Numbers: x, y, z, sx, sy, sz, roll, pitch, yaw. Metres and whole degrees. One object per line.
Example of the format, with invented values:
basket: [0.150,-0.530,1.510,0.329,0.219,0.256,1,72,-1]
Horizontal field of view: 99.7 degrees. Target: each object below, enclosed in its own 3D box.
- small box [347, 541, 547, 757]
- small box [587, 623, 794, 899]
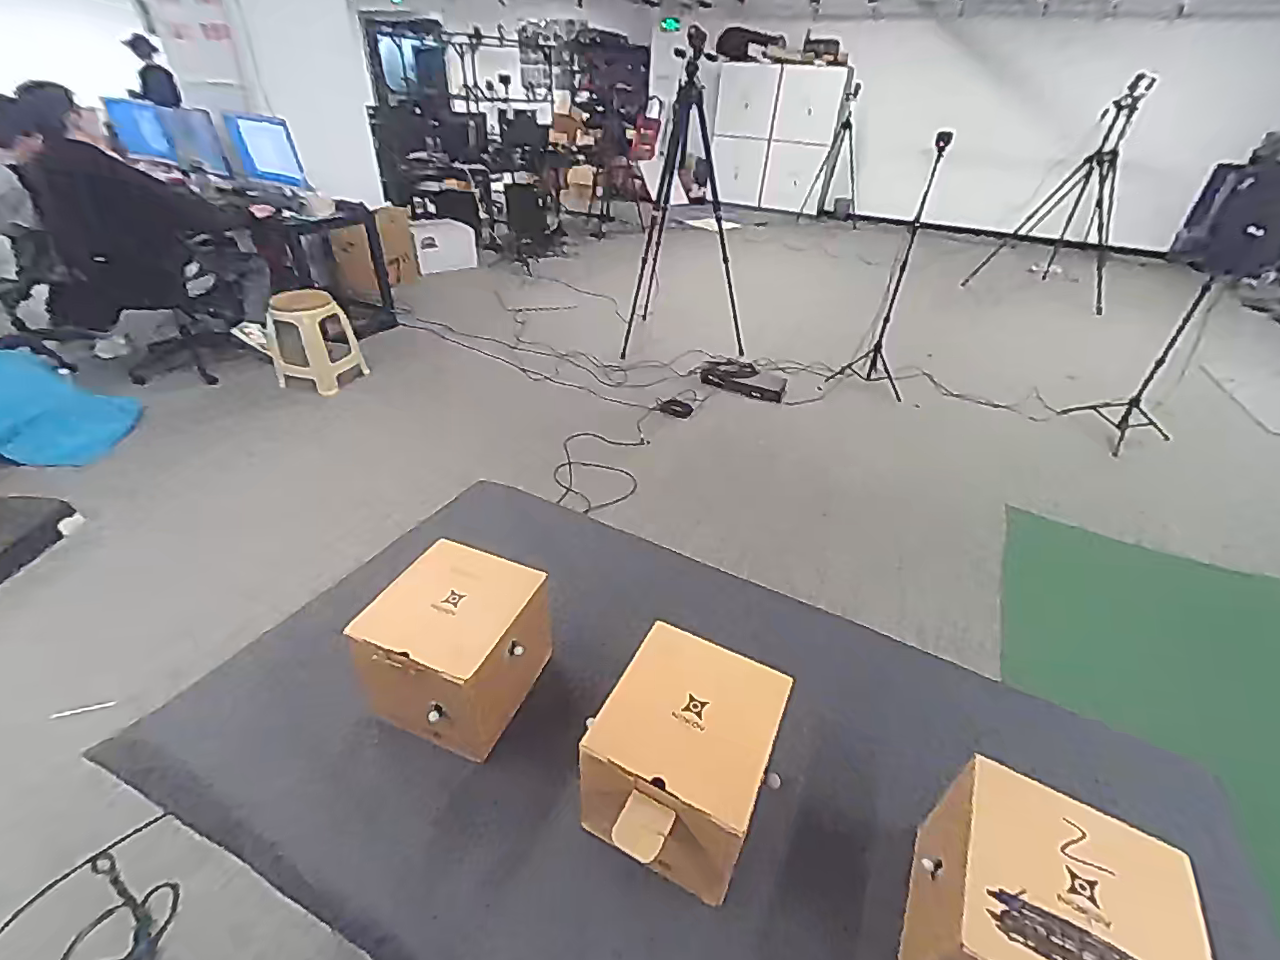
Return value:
small box: [-0.227,0.212,0.691,0.168,0.176,0.179,16,36,15]
small box: [0.052,0.299,0.592,0.168,0.176,0.179,19,38,20]
